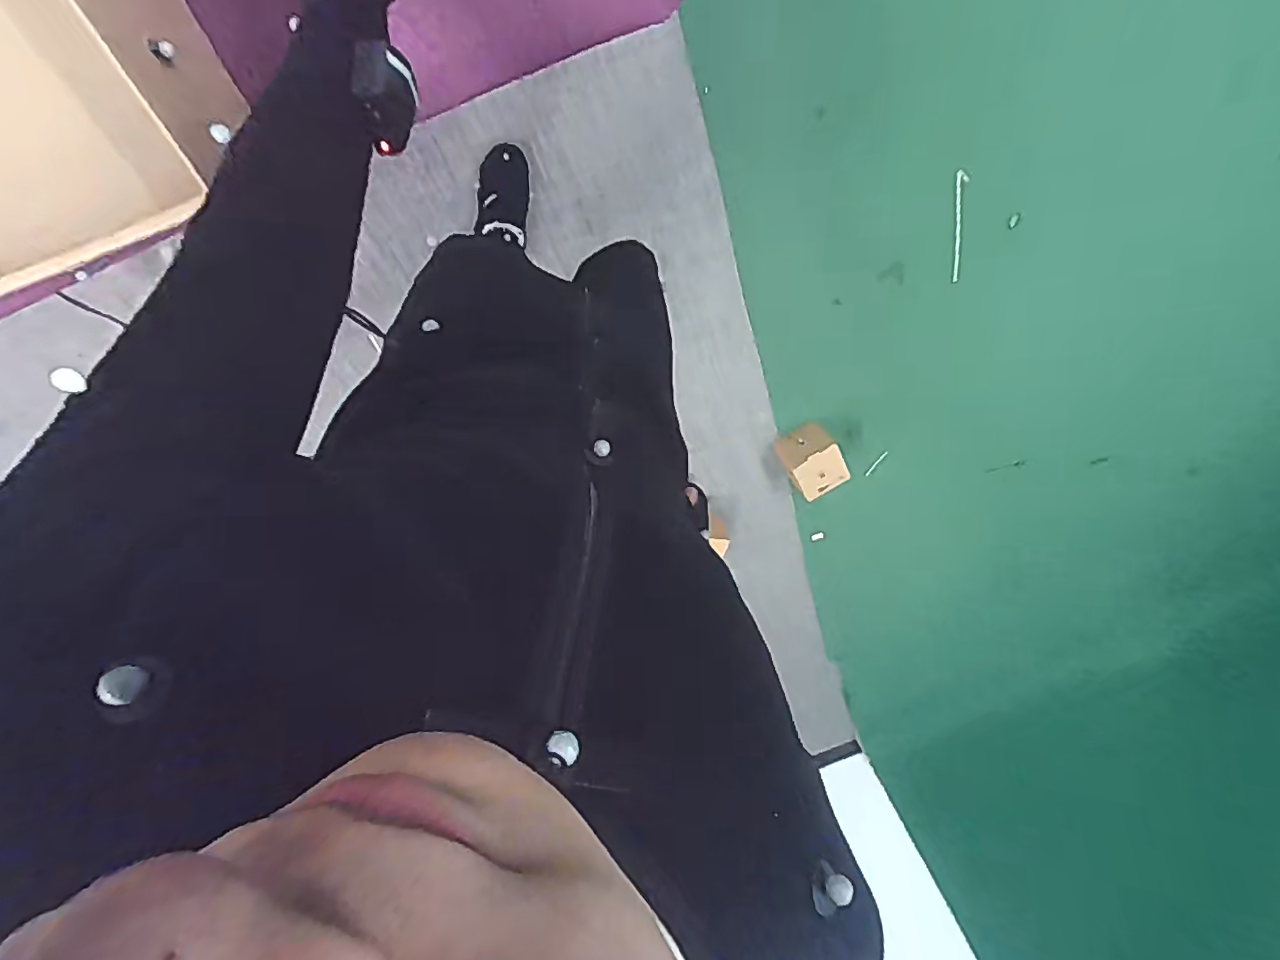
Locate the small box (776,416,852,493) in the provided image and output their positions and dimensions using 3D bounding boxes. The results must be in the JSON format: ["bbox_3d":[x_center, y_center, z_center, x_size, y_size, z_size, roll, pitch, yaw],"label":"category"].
[{"bbox_3d":[0.590,-0.096,1.853,0.168,0.176,0.179,-31,126,9],"label":"small box"}]

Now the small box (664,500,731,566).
[{"bbox_3d":[0.203,0.191,1.969,0.179,0.176,0.168,7,123,-17],"label":"small box"}]
